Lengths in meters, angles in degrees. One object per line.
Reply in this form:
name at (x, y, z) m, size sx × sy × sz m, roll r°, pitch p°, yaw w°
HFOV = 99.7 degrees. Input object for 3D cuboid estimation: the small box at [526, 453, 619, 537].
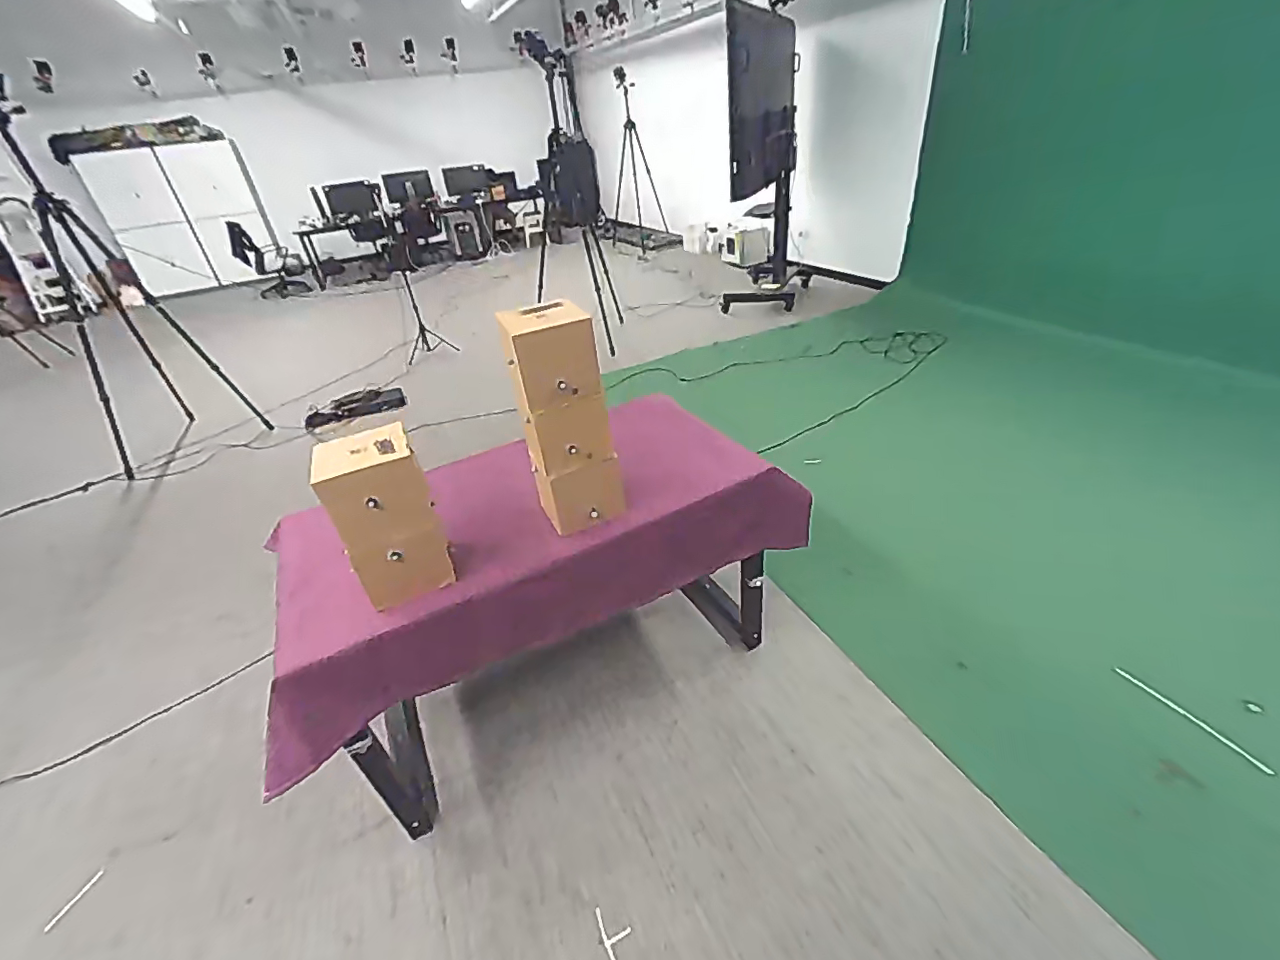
small box at (-0.161, 0.012, 1.327) m, size 0.179 × 0.176 × 0.168 m, roll -20°, pitch 35°, yaw -19°

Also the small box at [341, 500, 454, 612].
small box at (-0.527, 0.157, 1.179) m, size 0.179 × 0.176 × 0.168 m, roll -19°, pitch 36°, yaw -18°

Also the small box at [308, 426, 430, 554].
small box at (-0.540, 0.019, 1.093) m, size 0.179 × 0.176 × 0.168 m, roll -21°, pitch 37°, yaw -18°

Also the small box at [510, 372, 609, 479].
small box at (-0.184, -0.128, 1.245) m, size 0.168 × 0.176 × 0.179 m, roll -20°, pitch 36°, yaw -18°
